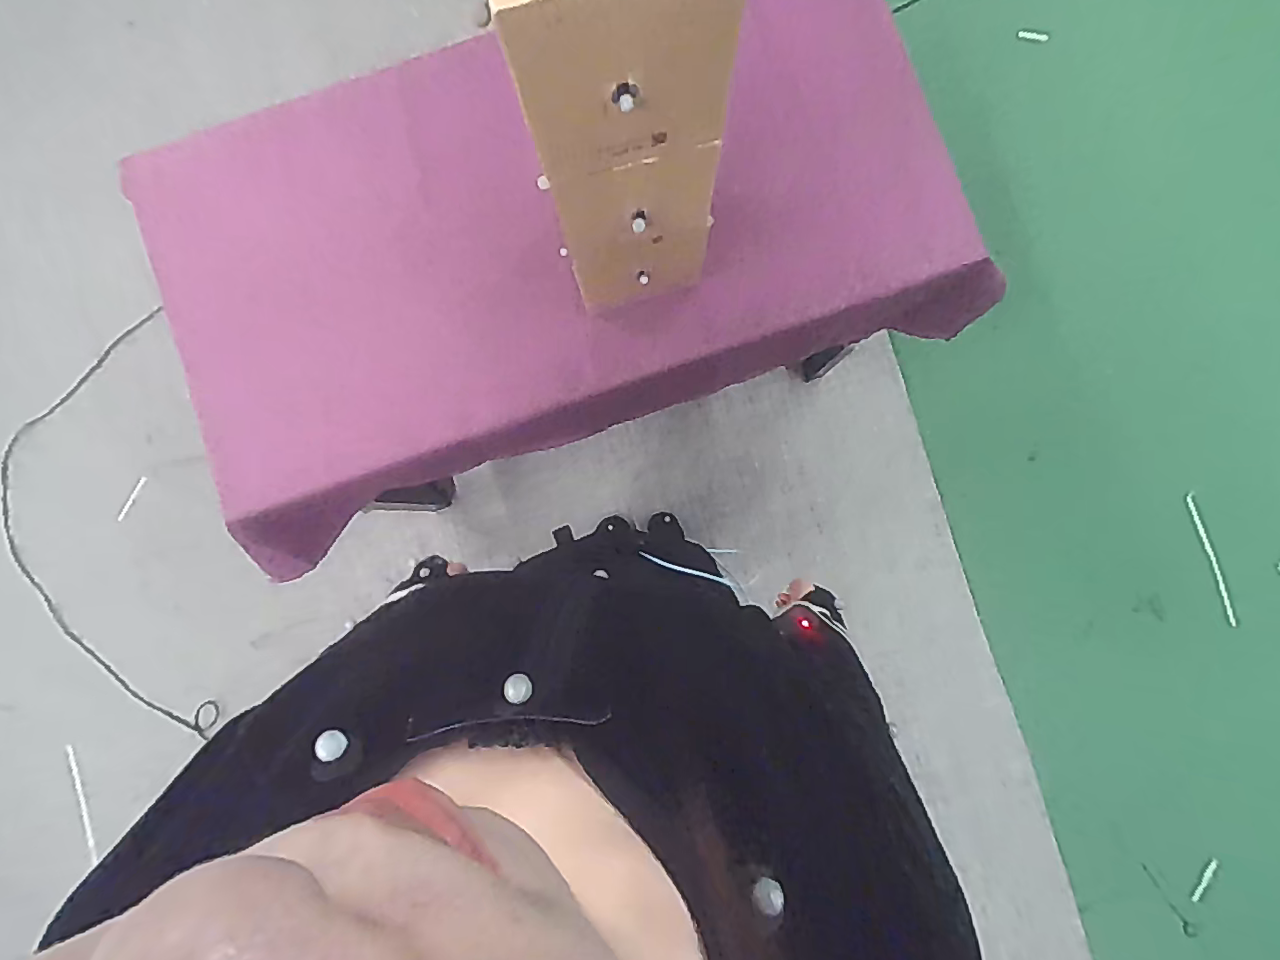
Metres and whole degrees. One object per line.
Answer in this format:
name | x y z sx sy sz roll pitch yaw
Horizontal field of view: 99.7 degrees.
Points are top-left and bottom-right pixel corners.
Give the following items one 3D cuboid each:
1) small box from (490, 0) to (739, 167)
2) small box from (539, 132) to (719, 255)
small box | -0.026 -0.374 0.413 0.168 0.176 0.179 -14 85 0
small box | -0.020 -0.363 0.578 0.168 0.176 0.179 -13 86 0
